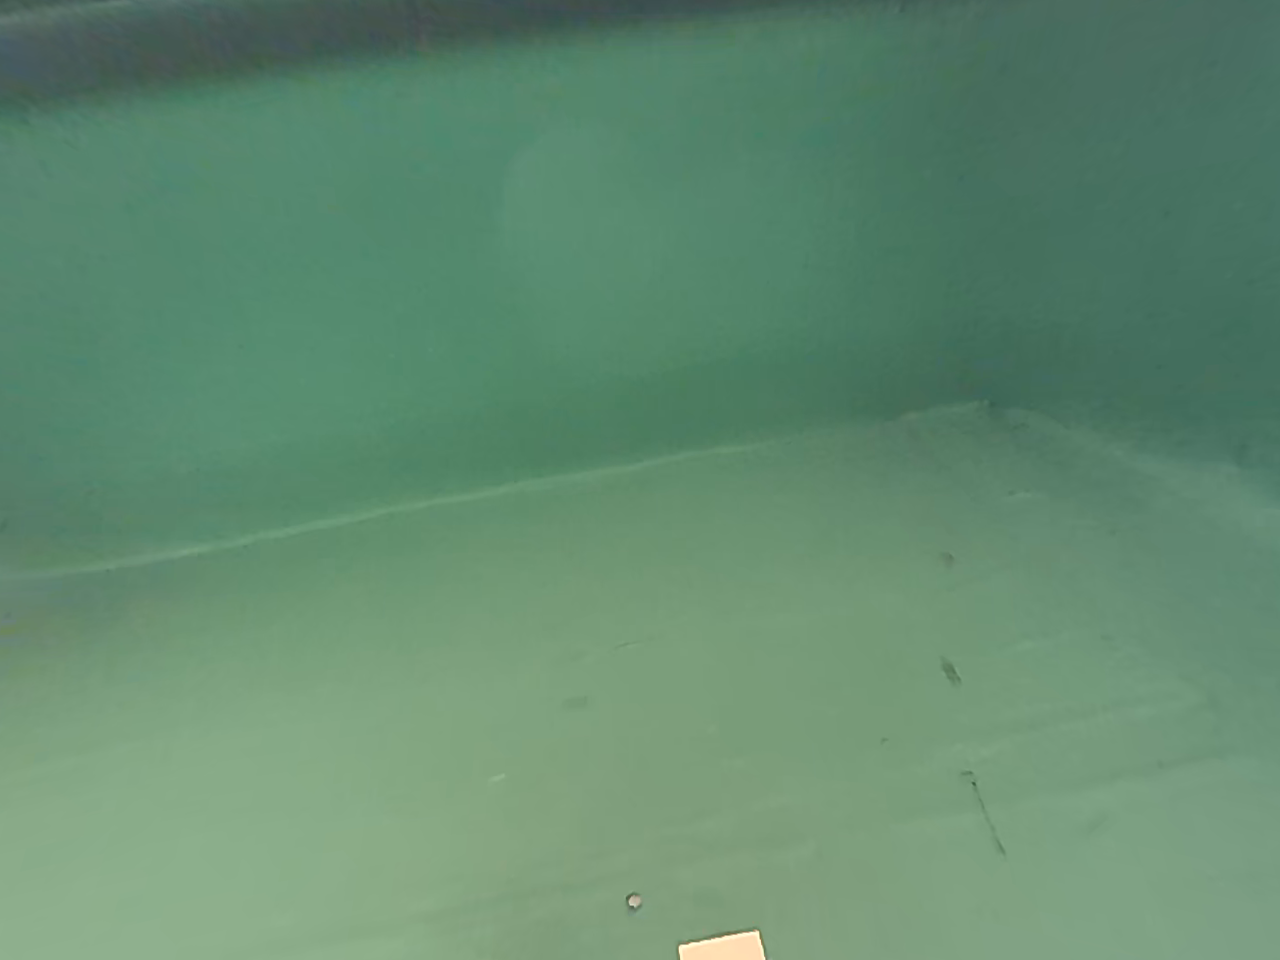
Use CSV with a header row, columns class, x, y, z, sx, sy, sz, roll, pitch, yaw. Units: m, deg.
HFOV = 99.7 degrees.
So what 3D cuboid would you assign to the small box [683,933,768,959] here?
class,x,y,z,sx,sy,sz,roll,pitch,yaw
small box,0.181,1.029,1.048,0.168,0.176,0.179,-10,32,-1
